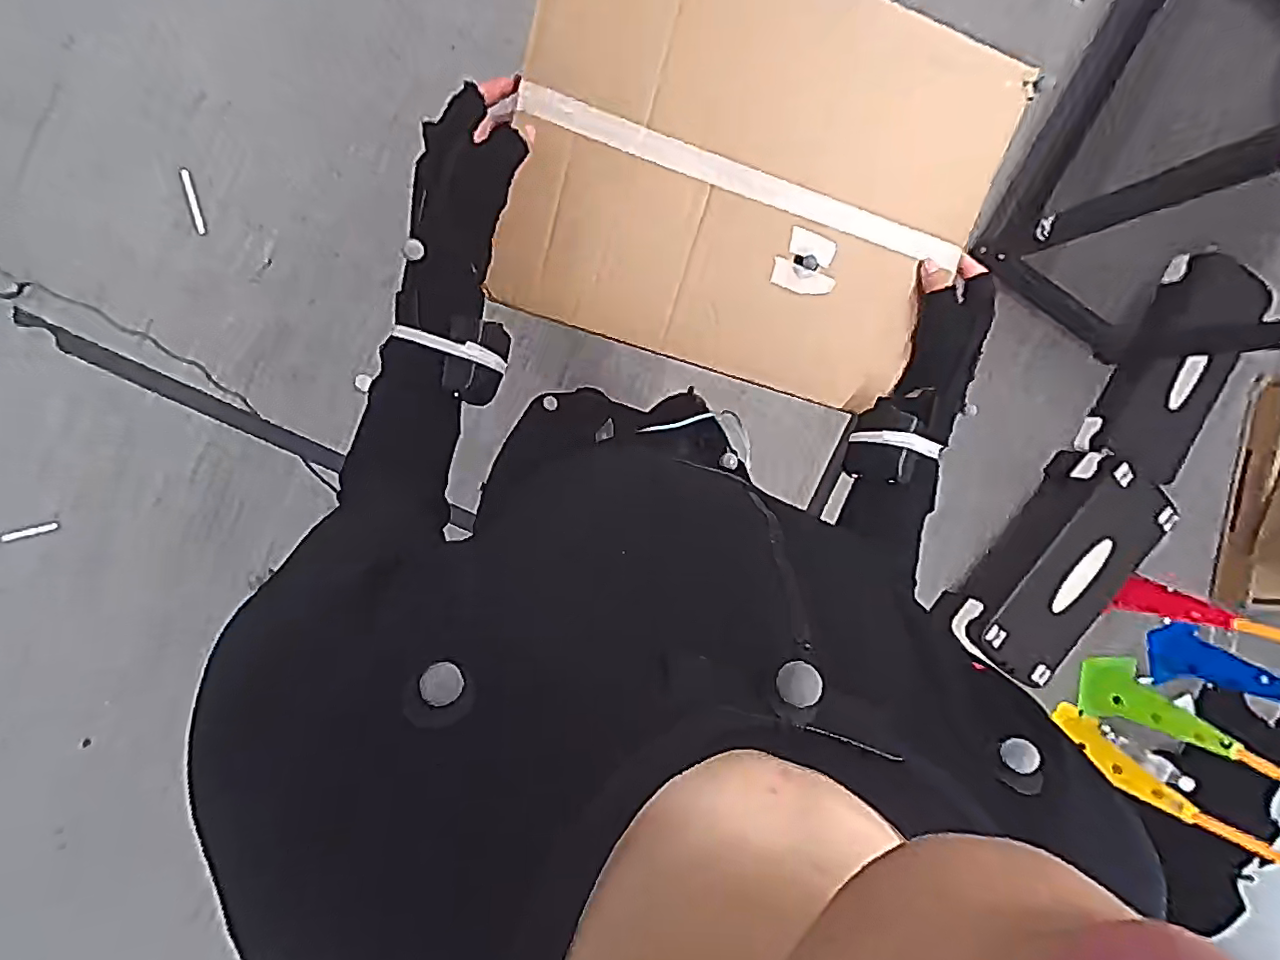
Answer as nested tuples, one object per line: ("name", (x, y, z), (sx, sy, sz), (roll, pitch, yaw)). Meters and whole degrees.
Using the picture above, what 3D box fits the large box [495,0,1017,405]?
("large box", (0.083, -0.308, 0.616), (0.408, 0.320, 0.320), (15, 107, -11))
